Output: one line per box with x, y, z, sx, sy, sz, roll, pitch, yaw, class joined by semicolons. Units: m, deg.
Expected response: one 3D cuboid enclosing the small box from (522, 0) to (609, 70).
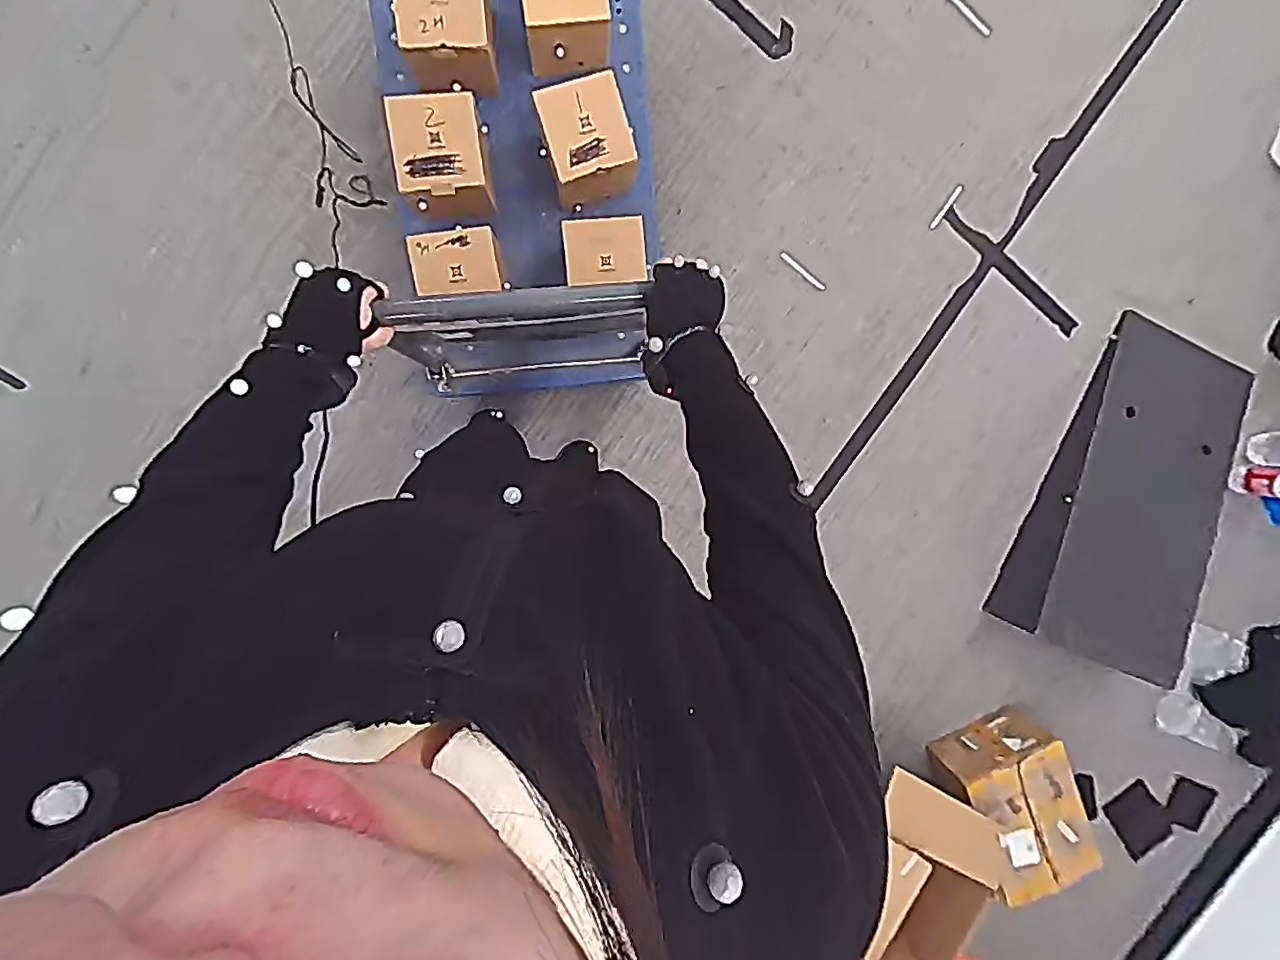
-0.156;-0.975;1.103;0.168;0.176;0.179;-9;98;-4;small box

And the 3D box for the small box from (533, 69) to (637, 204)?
-0.113;-0.708;1.141;0.168;0.176;0.179;-18;98;-4;small box

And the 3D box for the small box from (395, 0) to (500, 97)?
-0.382;-0.912;1.085;0.168;0.176;0.179;-5;99;-5;small box

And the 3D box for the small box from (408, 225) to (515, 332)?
-0.369;-0.418;1.150;0.168;0.176;0.179;-10;99;-6;small box

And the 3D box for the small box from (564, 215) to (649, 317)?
-0.074;-0.457;1.179;0.168;0.176;0.179;-5;98;-6;small box
